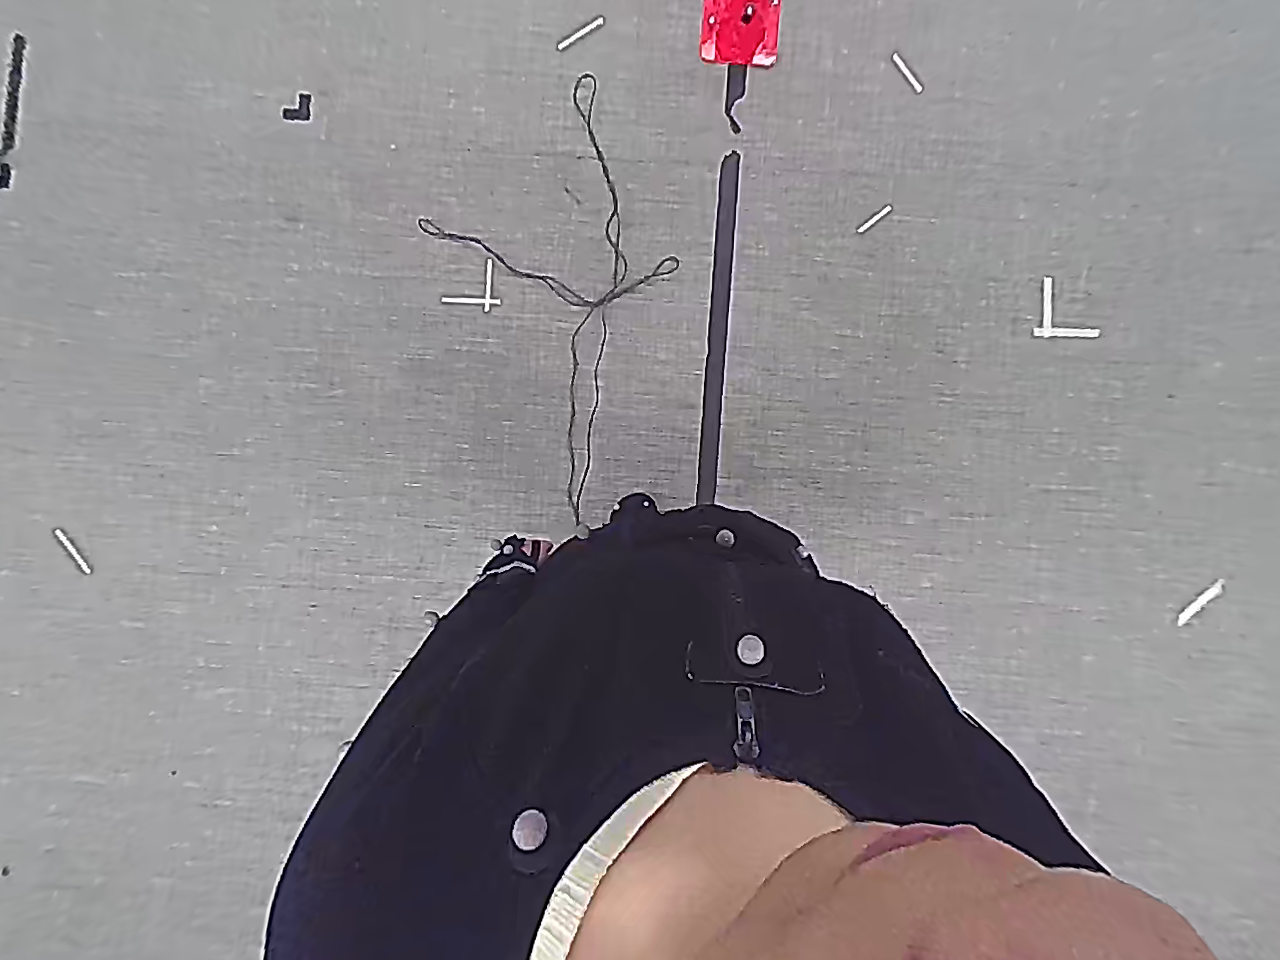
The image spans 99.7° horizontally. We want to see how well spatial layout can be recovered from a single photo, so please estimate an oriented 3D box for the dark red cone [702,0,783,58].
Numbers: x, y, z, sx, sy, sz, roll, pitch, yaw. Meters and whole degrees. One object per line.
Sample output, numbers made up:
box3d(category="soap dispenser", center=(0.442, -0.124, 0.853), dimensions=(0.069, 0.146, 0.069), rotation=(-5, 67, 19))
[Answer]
box3d(category="dark red cone", center=(0.260, -1.179, 1.210), dimensions=(0.201, 0.394, 0.202), rotation=(3, 90, 0))
